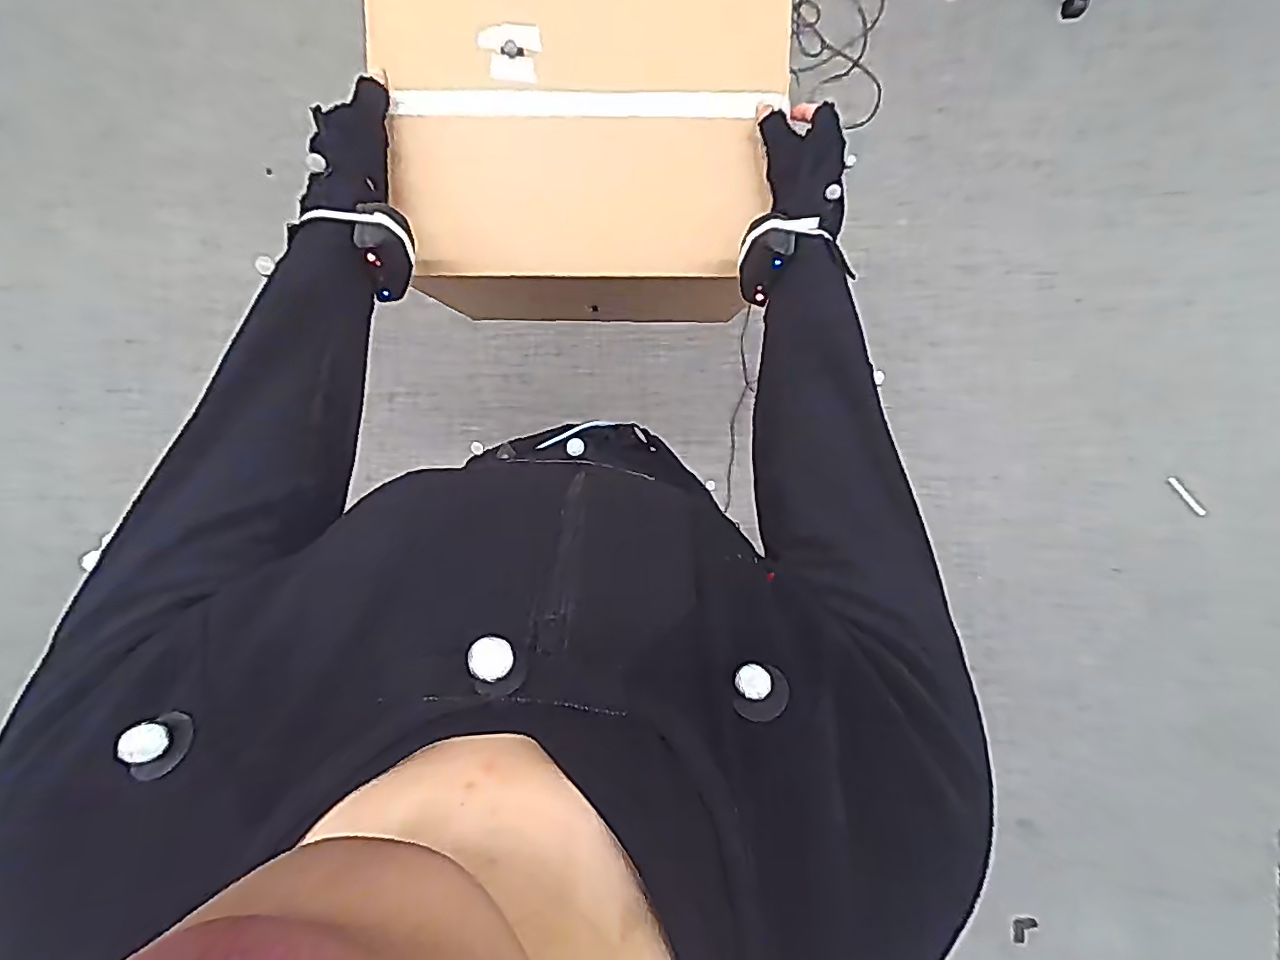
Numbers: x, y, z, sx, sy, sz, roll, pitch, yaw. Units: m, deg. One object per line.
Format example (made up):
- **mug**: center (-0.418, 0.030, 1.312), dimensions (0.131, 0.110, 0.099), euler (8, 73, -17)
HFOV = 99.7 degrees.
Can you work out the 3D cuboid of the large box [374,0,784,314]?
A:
- **large box**: center (-0.057, -0.389, 0.681), dimensions (0.408, 0.320, 0.320), euler (0, 98, -1)
